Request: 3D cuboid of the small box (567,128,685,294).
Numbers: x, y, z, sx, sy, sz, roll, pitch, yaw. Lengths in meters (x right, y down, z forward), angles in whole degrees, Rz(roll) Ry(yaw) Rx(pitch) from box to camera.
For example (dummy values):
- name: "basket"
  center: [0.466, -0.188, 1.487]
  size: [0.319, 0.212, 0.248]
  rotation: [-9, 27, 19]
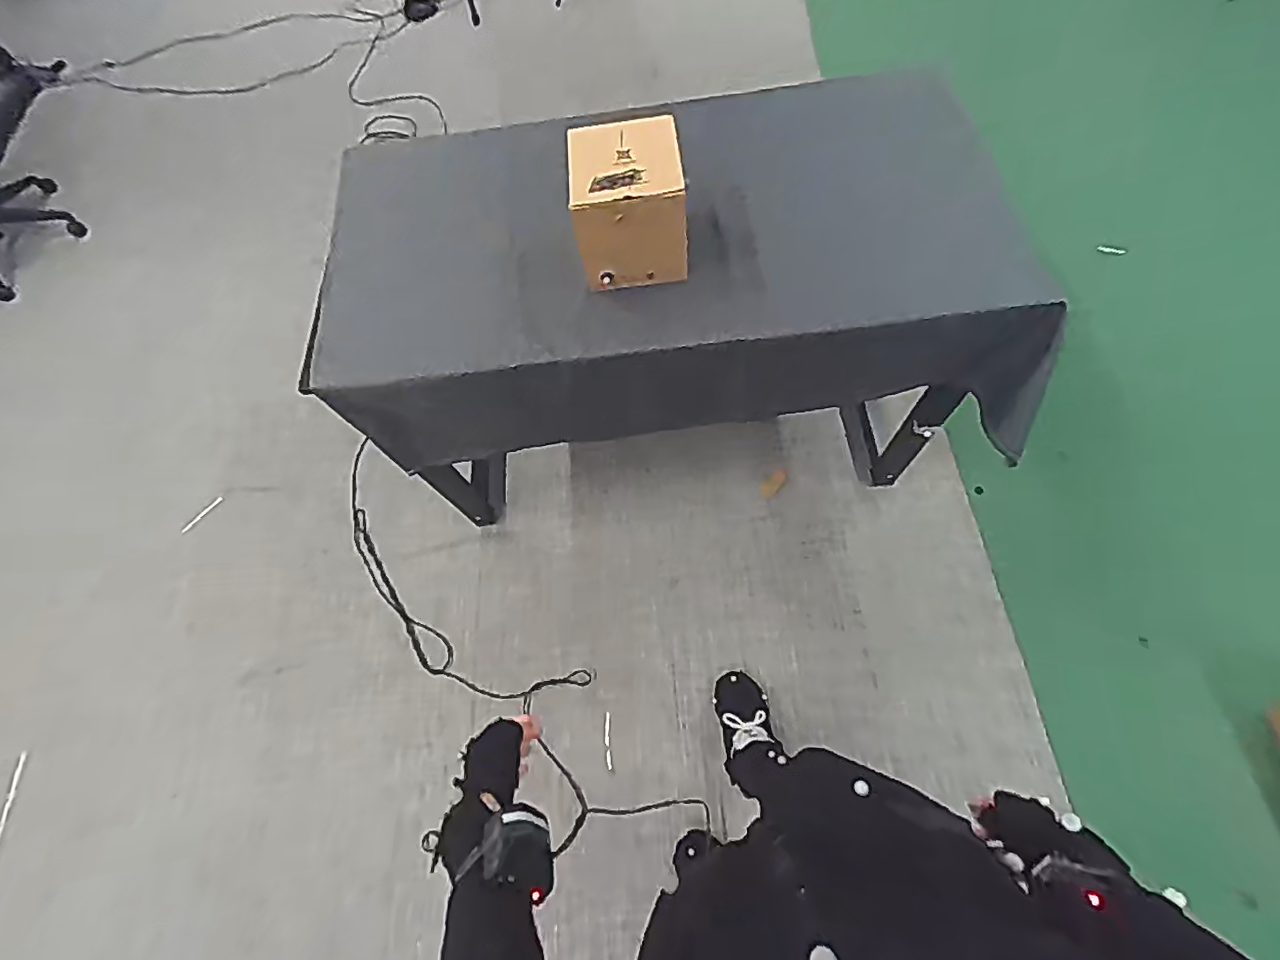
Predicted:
- name: "small box"
  center: [-0.019, -0.423, 0.876]
  size: [0.168, 0.176, 0.179]
  rotation: [-7, 64, 3]
